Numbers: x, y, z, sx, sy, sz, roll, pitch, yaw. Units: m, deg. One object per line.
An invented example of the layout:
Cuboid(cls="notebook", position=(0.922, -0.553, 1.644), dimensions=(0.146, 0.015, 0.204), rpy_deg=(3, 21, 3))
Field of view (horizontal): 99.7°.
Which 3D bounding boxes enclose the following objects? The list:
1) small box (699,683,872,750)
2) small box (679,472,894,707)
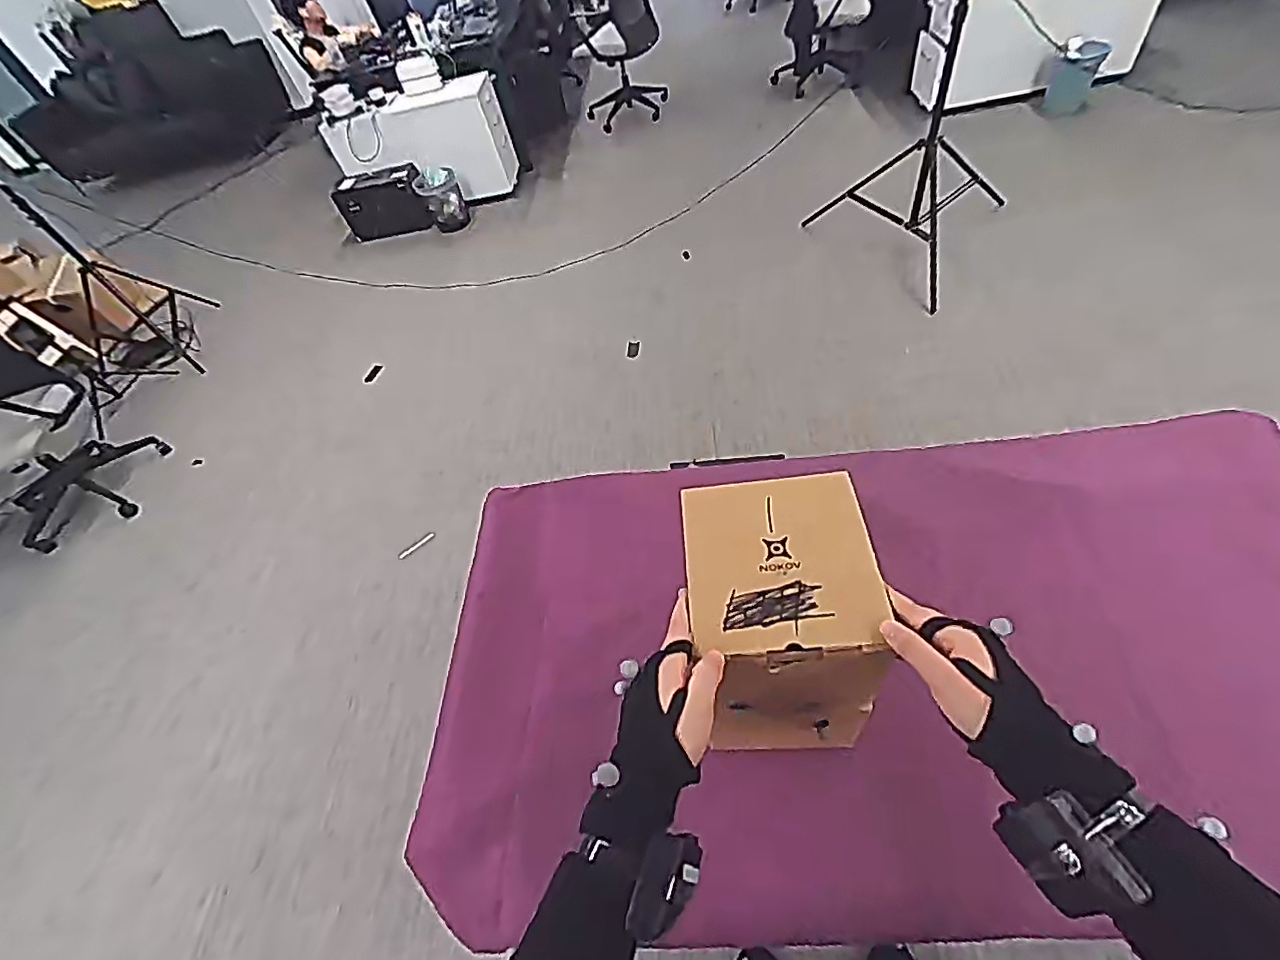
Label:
Cuboid(cls="small box", position=(0.164, 0.223, 0.664), dimensions=(0.179, 0.176, 0.168), rpy_deg=(-6, 51, 9))
Cuboid(cls="small box", position=(0.134, 0.118, 0.541), dimensions=(0.168, 0.176, 0.179), rpy_deg=(-7, 51, 8))
